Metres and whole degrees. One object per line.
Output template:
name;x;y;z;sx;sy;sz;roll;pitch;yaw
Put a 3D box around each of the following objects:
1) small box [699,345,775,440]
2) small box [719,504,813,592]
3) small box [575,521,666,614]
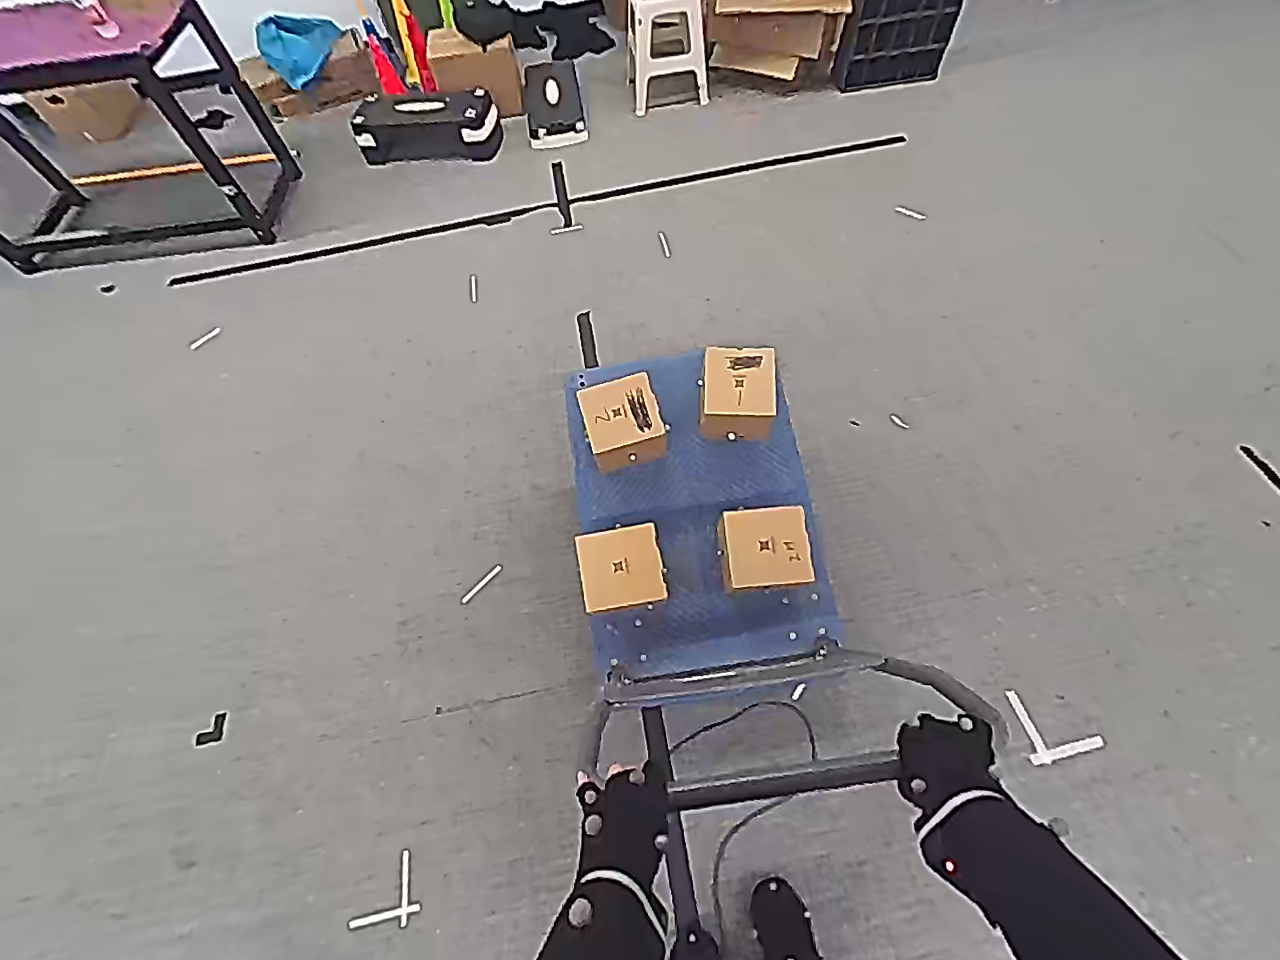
small box;0.233;-0.212;1.335;0.168;0.176;0.179;2;75;3
small box;0.274;0.159;1.223;0.179;0.176;0.168;-5;74;1
small box;-0.040;0.204;1.225;0.179;0.176;0.168;-11;73;-2
